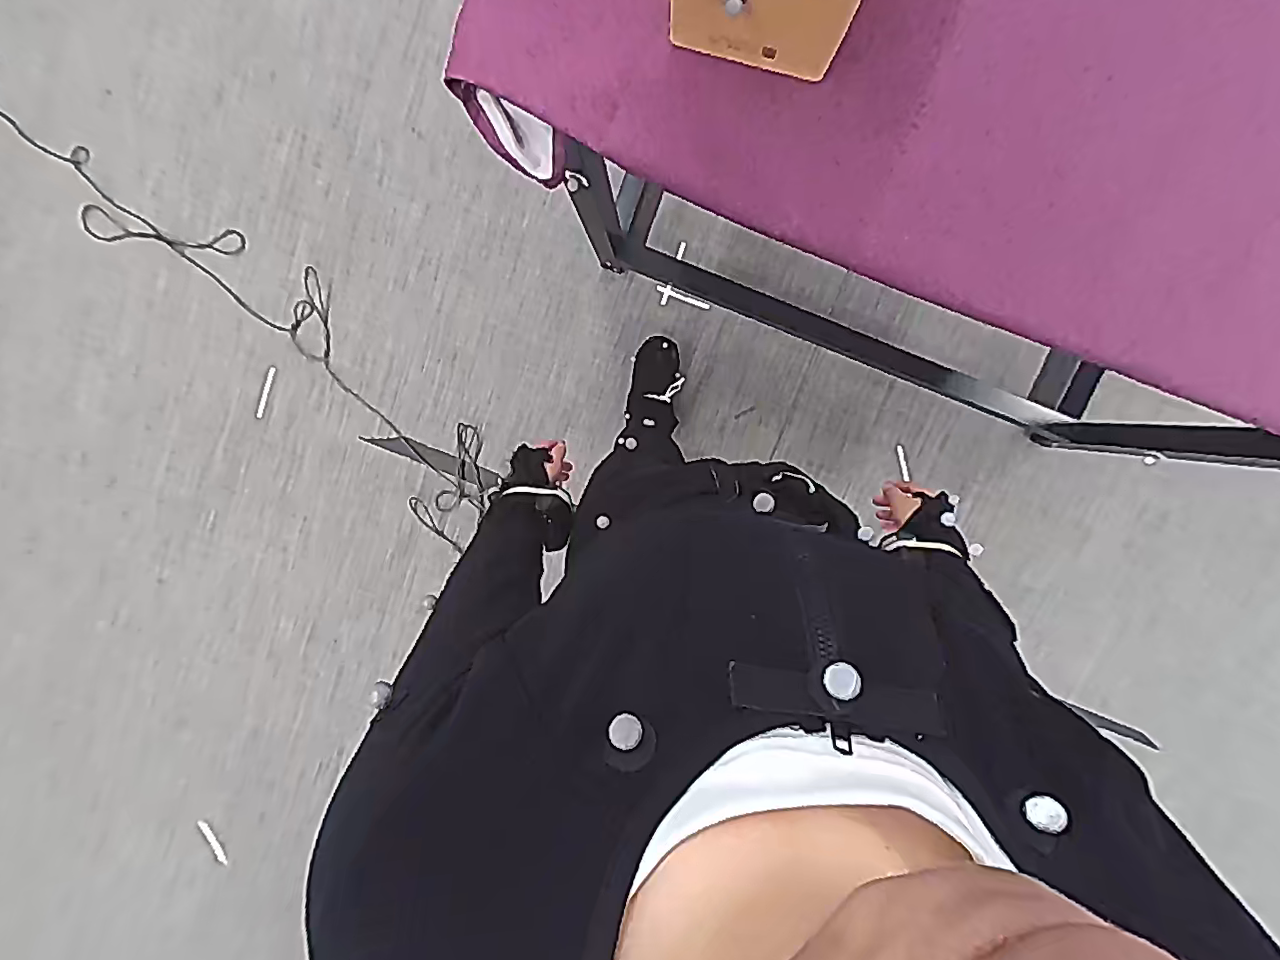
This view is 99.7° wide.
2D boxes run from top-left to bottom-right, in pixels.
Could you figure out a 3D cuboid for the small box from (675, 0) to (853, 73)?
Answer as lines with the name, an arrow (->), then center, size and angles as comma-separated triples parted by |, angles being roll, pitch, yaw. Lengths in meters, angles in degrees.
small box -> 0.129, -0.515, 0.483 | 0.168, 0.176, 0.179 | 15, 98, 0
